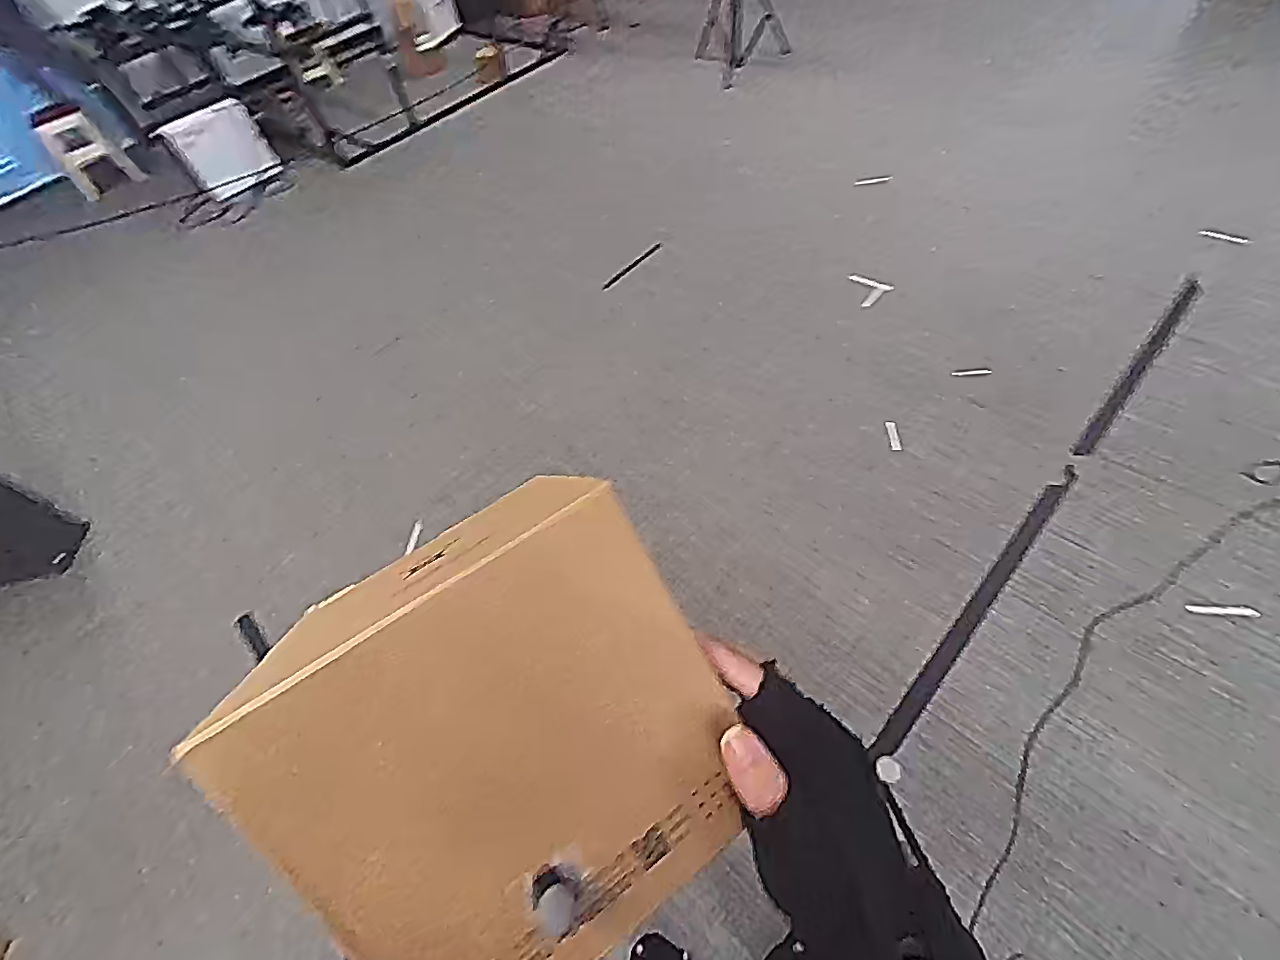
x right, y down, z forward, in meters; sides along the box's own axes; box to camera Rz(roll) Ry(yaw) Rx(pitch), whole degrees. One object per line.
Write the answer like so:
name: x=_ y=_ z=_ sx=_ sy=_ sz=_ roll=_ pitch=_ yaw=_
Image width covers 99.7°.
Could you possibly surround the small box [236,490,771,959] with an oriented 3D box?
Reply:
small box: x=-0.062 y=0.121 z=0.302 sx=0.168 sy=0.176 sz=0.179 roll=-32 pitch=11 yaw=-14
